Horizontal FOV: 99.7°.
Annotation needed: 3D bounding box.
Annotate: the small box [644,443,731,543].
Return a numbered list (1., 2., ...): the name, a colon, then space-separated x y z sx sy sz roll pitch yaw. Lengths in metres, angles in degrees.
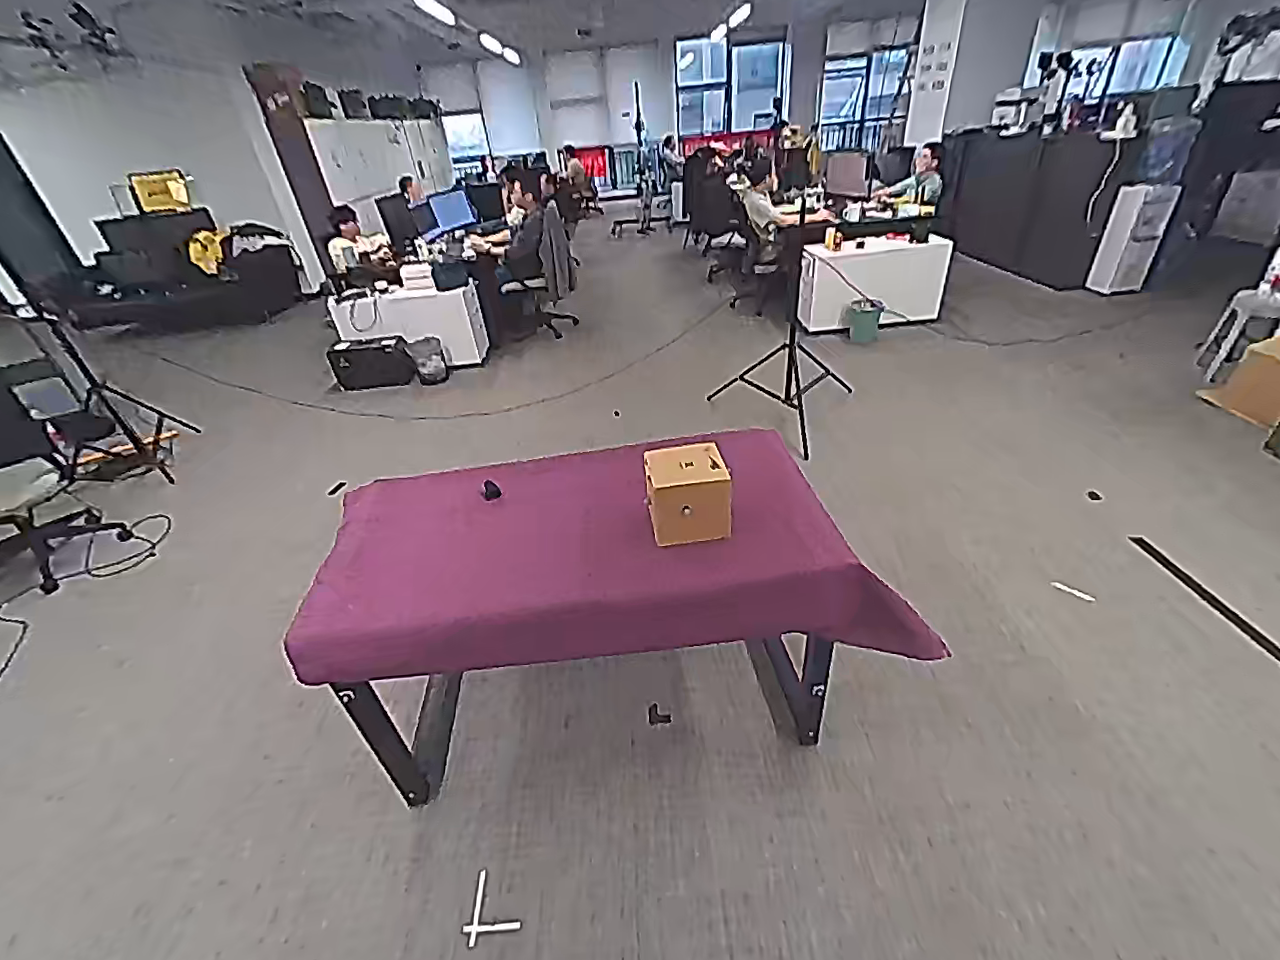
1. small box: 0.113 0.033 1.281 0.179 0.176 0.168 -9 33 -2
